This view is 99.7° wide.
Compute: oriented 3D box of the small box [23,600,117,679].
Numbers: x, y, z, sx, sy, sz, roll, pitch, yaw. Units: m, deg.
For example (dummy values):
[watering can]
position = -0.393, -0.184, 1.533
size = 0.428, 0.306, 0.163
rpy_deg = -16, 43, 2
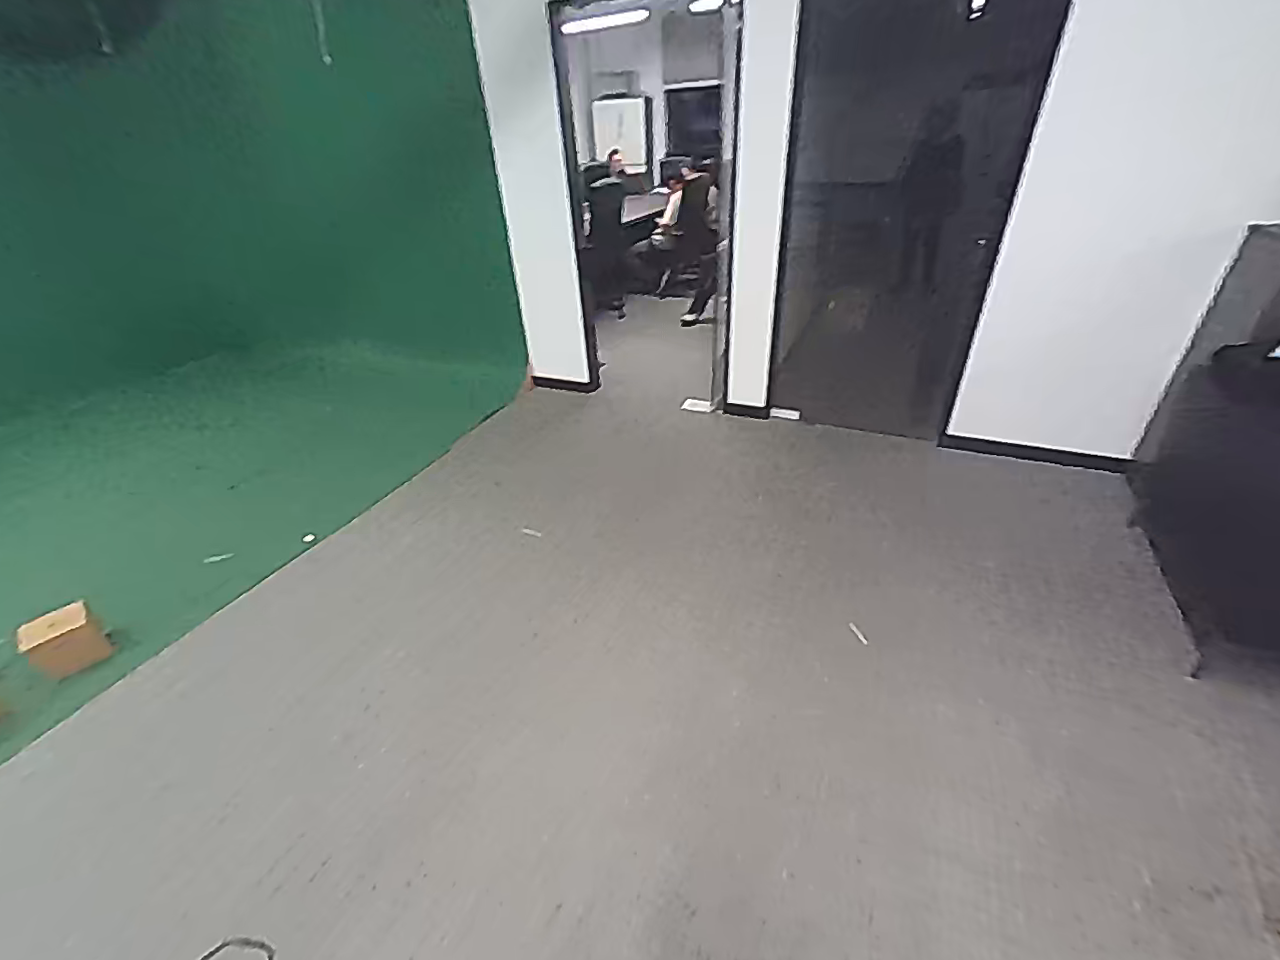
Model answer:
[small box]
position = -2.035, 0.573, 1.933
size = 0.168, 0.176, 0.179
rpy_deg = 27, 43, 37
